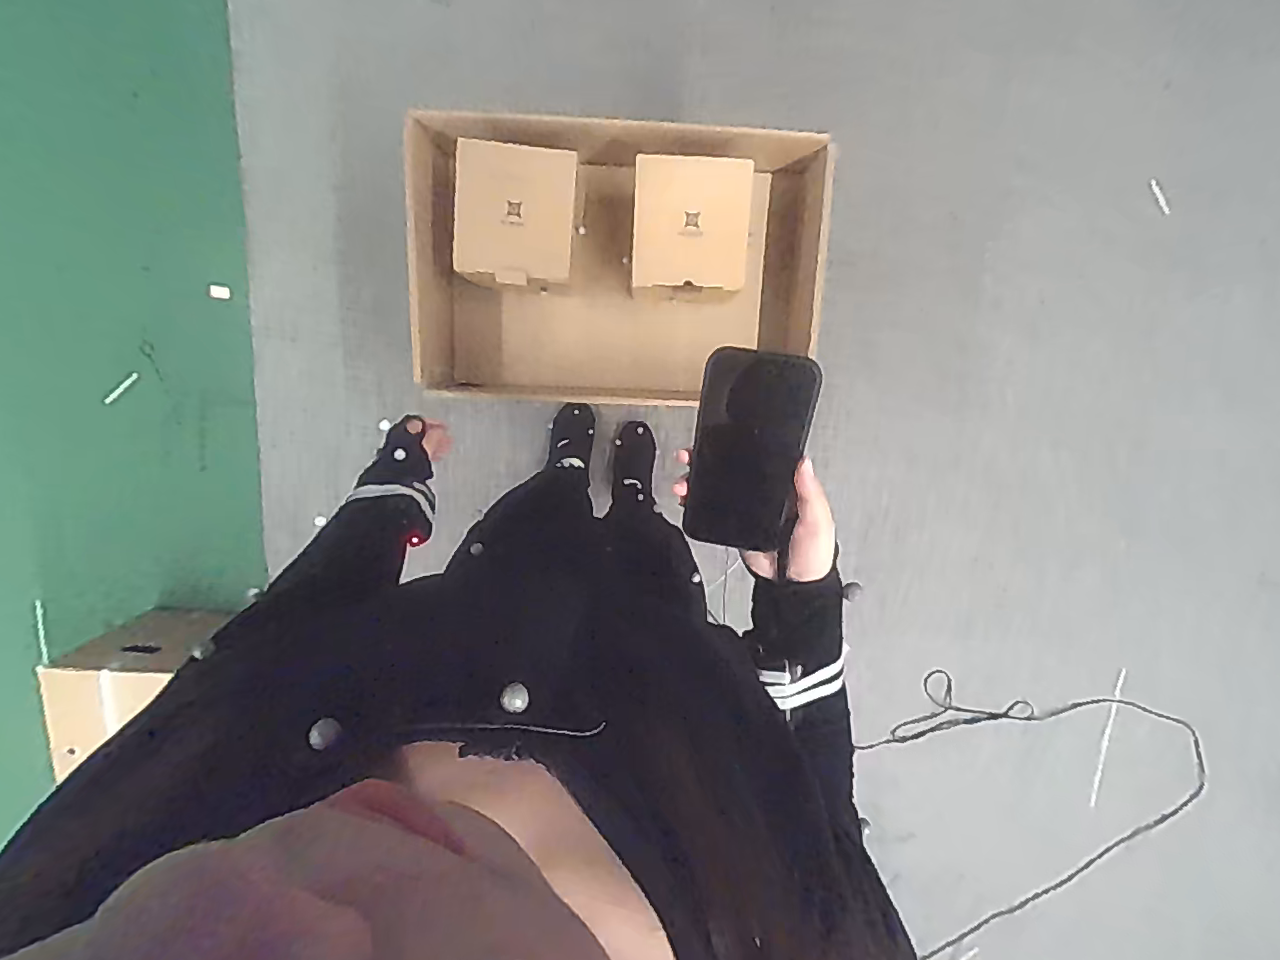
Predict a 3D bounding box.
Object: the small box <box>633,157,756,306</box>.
[{"bbox_3d":[0.075,-0.374,0.843,0.168,0.176,0.179,2,103,0],"label":"small box"}]
